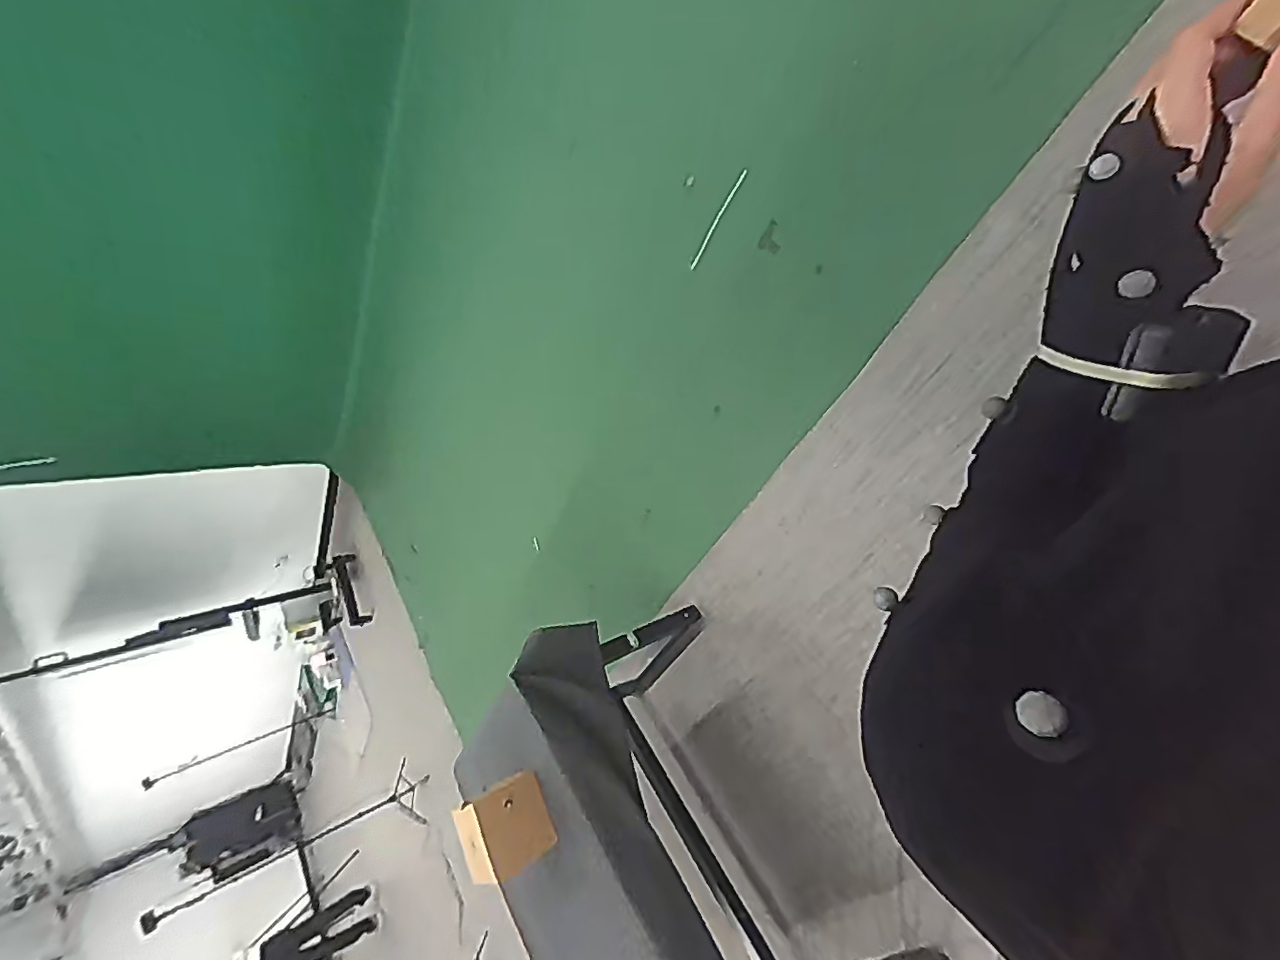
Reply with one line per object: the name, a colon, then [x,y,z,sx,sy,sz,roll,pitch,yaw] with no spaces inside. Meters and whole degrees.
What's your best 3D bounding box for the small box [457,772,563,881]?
small box: [-0.319,0.844,1.330,0.168,0.176,0.179,-43,68,43]
